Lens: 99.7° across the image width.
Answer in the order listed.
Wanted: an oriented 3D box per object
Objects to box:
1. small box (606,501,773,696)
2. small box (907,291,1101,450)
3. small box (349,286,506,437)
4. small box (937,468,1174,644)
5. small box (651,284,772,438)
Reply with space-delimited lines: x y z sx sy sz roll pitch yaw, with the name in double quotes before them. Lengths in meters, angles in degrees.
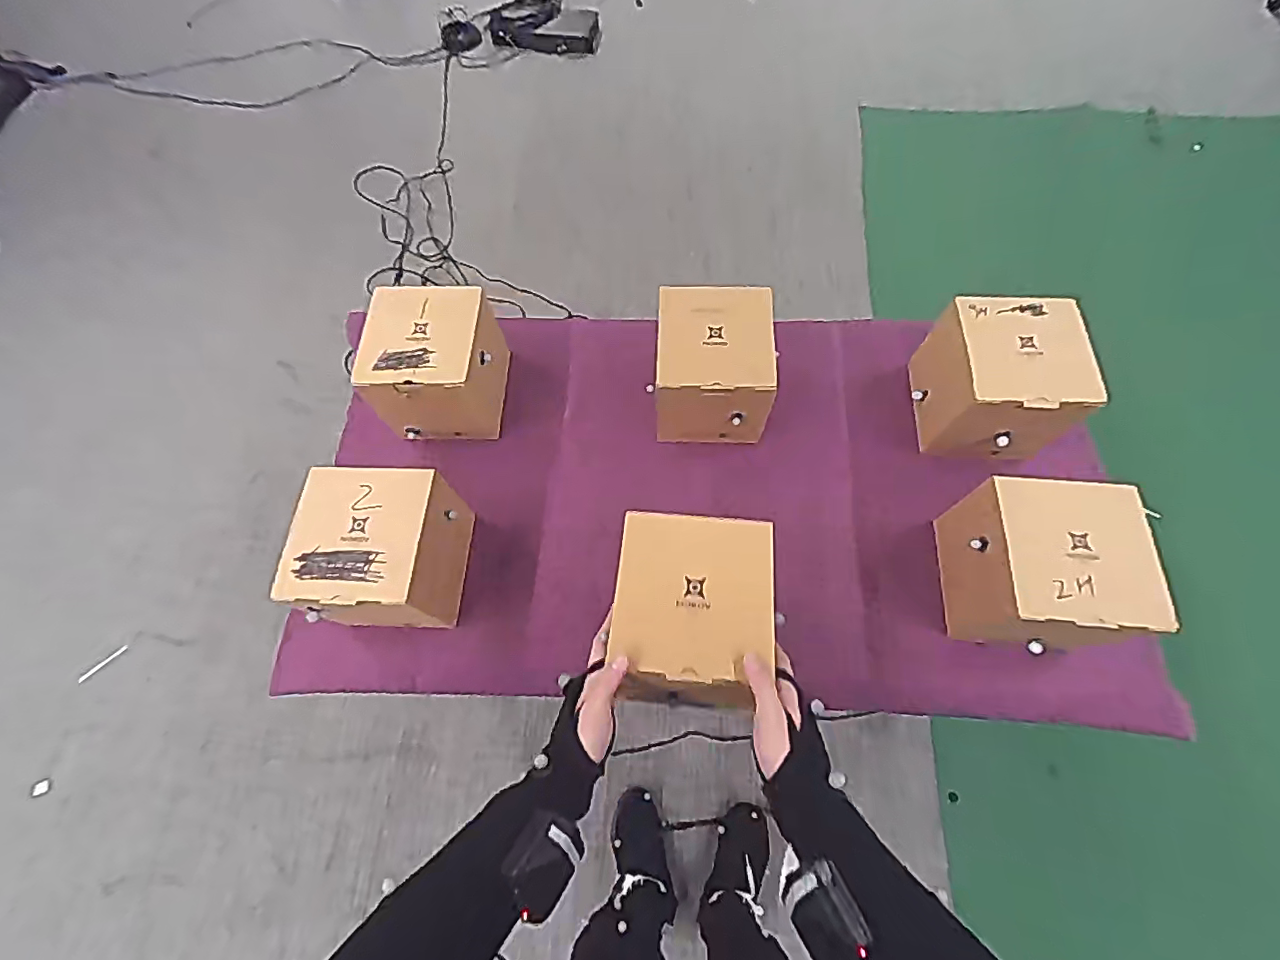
"small box" 0.058 0.143 0.631 0.168 0.176 0.179 4 62 5
"small box" 0.519 -0.154 0.801 0.168 0.176 0.179 2 68 4
"small box" -0.319 -0.178 0.852 0.168 0.176 0.179 0 67 2
"small box" 0.503 0.102 0.690 0.168 0.176 0.179 4 67 6
"small box" 0.104 -0.175 0.833 0.168 0.176 0.179 1 67 3
